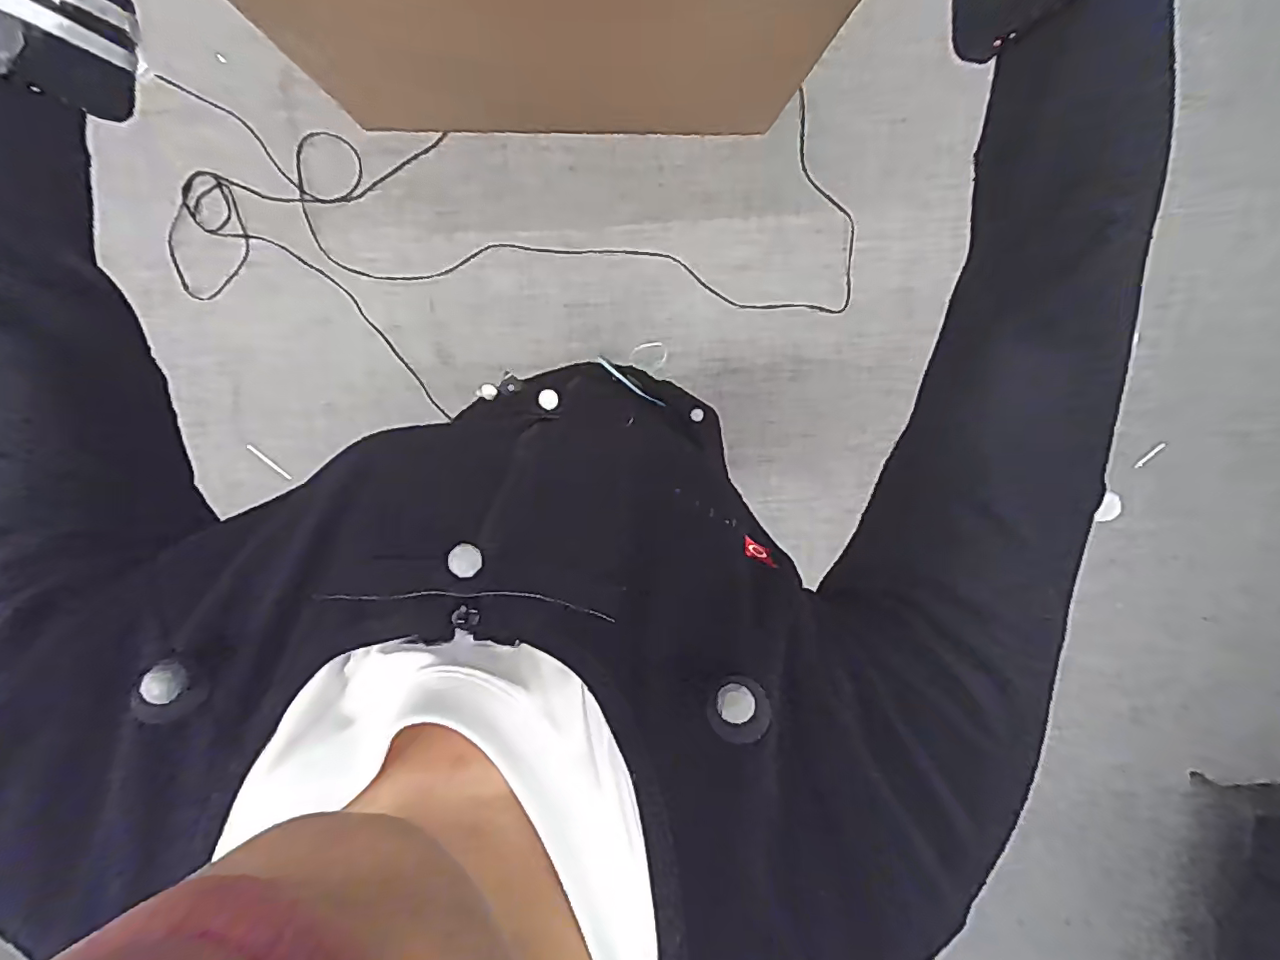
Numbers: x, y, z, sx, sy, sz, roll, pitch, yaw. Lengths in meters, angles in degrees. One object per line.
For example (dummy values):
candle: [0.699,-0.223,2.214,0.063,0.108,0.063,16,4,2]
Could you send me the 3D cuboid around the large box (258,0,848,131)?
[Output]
large box: [-0.061,-0.471,0.367,0.408,0.320,0.320,-2,103,-4]
